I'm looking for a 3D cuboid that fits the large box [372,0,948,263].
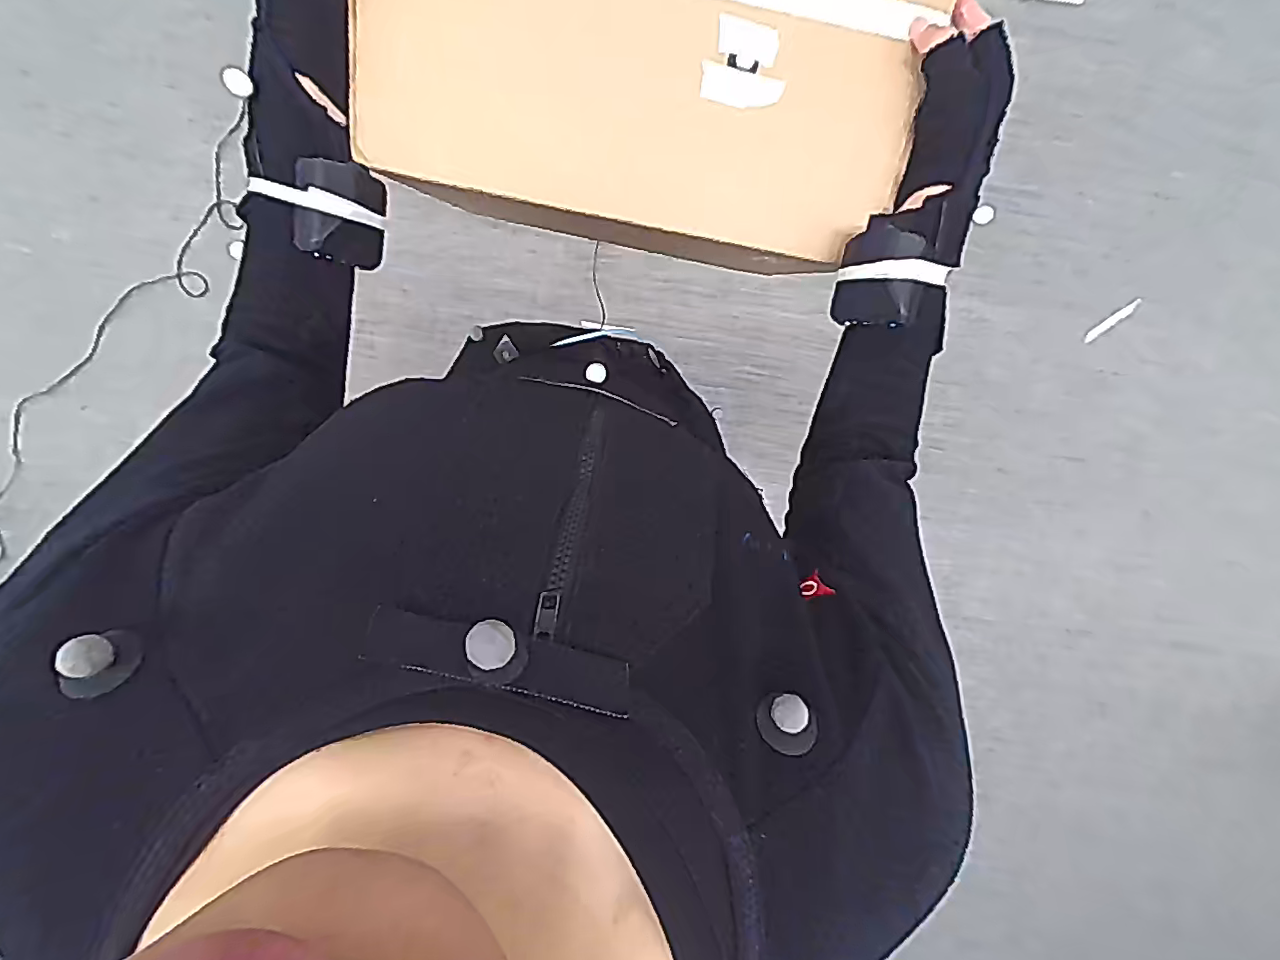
[{"bbox_3d":[0.012,-0.405,0.510,0.408,0.320,0.320,9,111,-6],"label":"large box"}]
